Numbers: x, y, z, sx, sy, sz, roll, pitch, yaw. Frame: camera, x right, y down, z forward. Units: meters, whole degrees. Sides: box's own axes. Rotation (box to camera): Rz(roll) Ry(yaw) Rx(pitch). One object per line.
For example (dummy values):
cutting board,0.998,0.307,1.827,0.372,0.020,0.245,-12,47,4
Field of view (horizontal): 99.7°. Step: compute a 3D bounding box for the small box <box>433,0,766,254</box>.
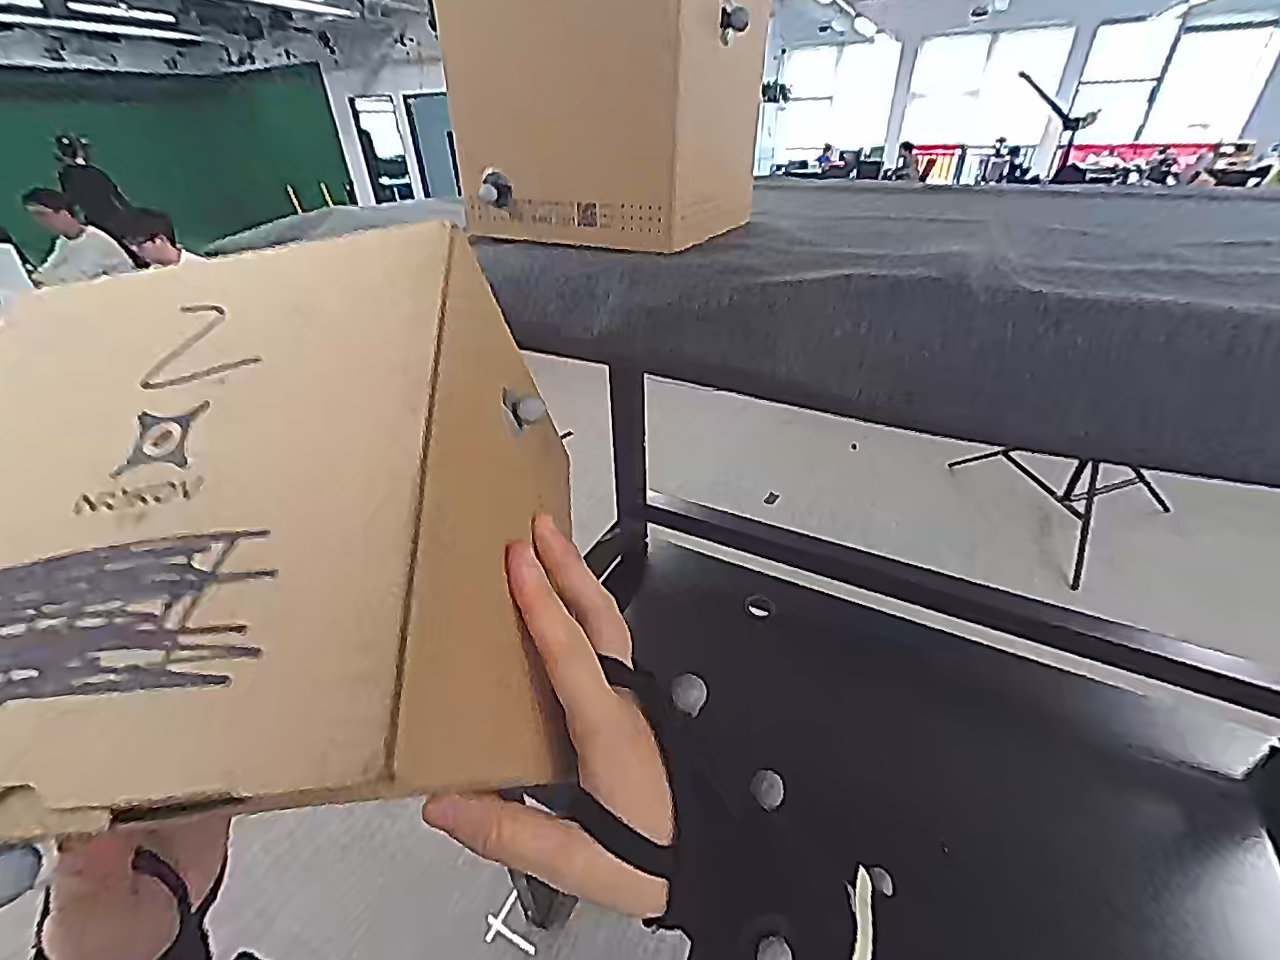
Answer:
small box,-0.015,-0.267,0.391,0.168,0.176,0.179,15,34,21
